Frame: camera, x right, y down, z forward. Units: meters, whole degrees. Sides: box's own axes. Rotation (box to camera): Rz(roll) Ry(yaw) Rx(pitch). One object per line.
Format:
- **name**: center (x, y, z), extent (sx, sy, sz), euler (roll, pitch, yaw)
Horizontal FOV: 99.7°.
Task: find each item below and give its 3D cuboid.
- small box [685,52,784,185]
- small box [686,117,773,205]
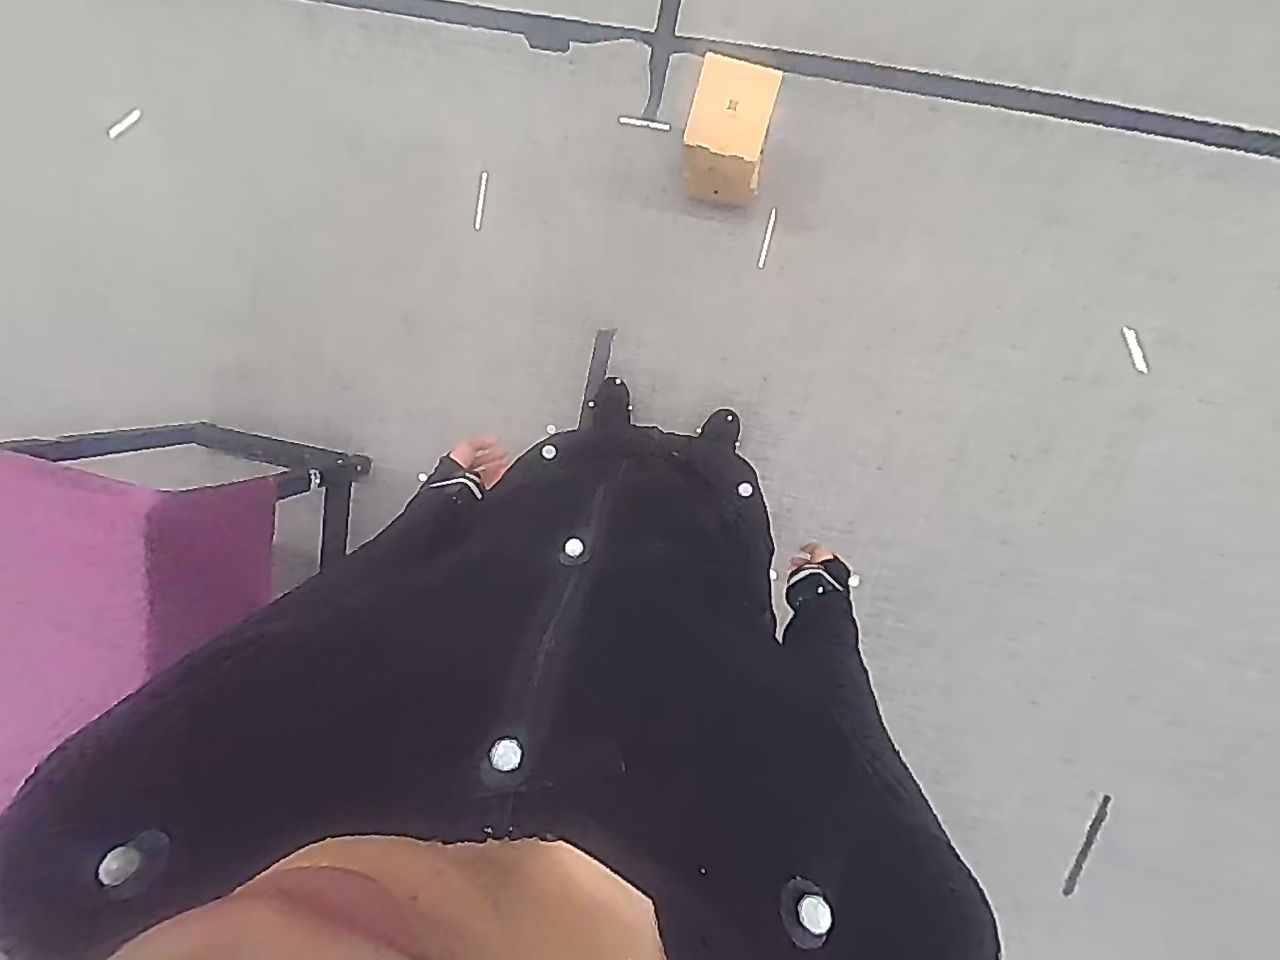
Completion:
- **small box**: center (0.201, -0.788, 1.198), extent (0.168, 0.176, 0.179), euler (16, 104, 2)
- **small box**: center (0.218, -0.809, 1.359), extent (0.179, 0.176, 0.168), euler (12, 103, 4)
